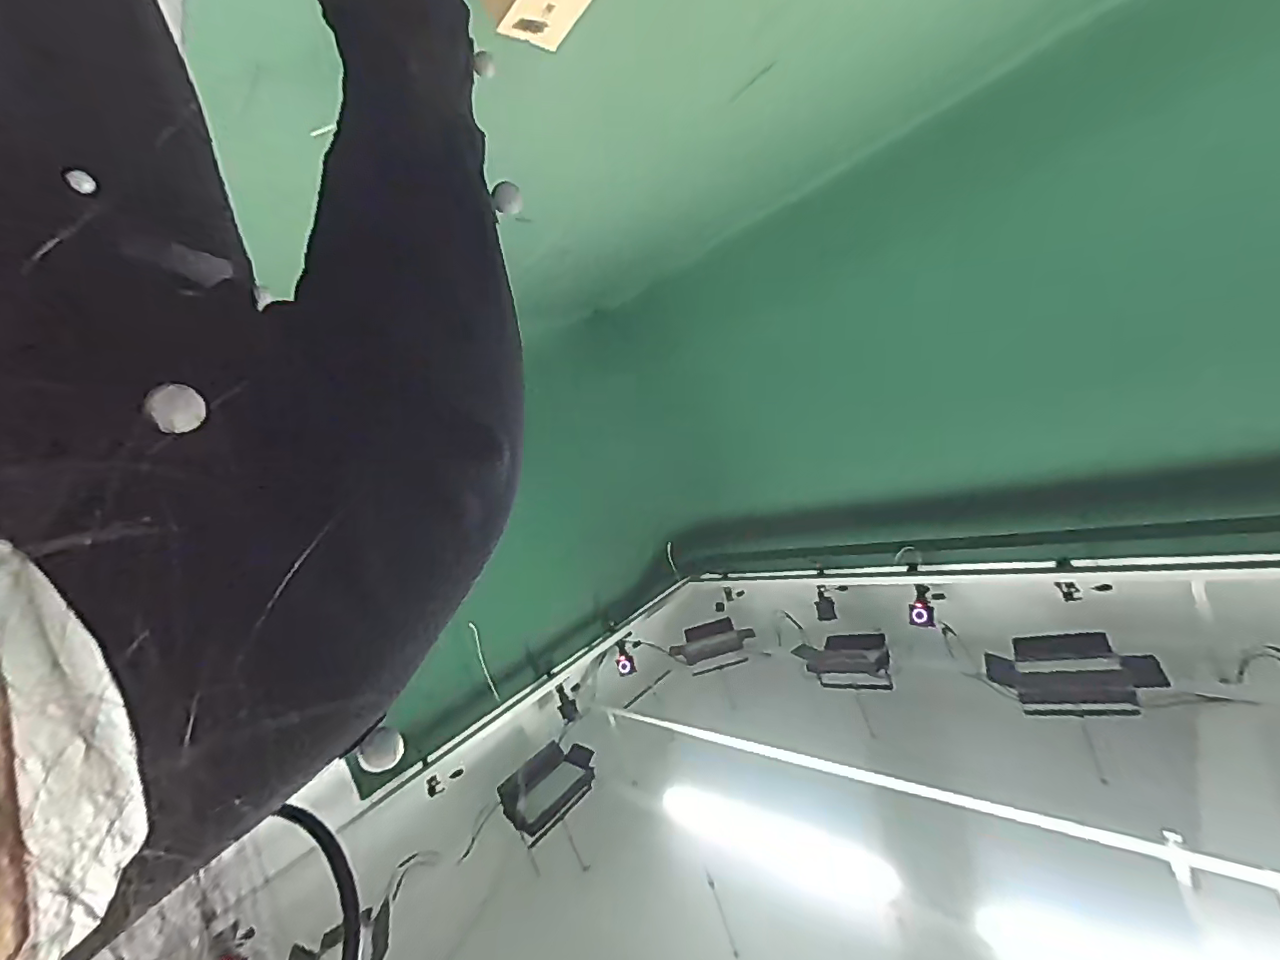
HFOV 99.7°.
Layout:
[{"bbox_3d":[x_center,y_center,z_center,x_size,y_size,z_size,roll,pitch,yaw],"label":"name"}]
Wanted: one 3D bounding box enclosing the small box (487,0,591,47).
[{"bbox_3d":[-0.222,-1.066,1.124,0.179,0.176,0.168,-14,-172,45],"label":"small box"}]
